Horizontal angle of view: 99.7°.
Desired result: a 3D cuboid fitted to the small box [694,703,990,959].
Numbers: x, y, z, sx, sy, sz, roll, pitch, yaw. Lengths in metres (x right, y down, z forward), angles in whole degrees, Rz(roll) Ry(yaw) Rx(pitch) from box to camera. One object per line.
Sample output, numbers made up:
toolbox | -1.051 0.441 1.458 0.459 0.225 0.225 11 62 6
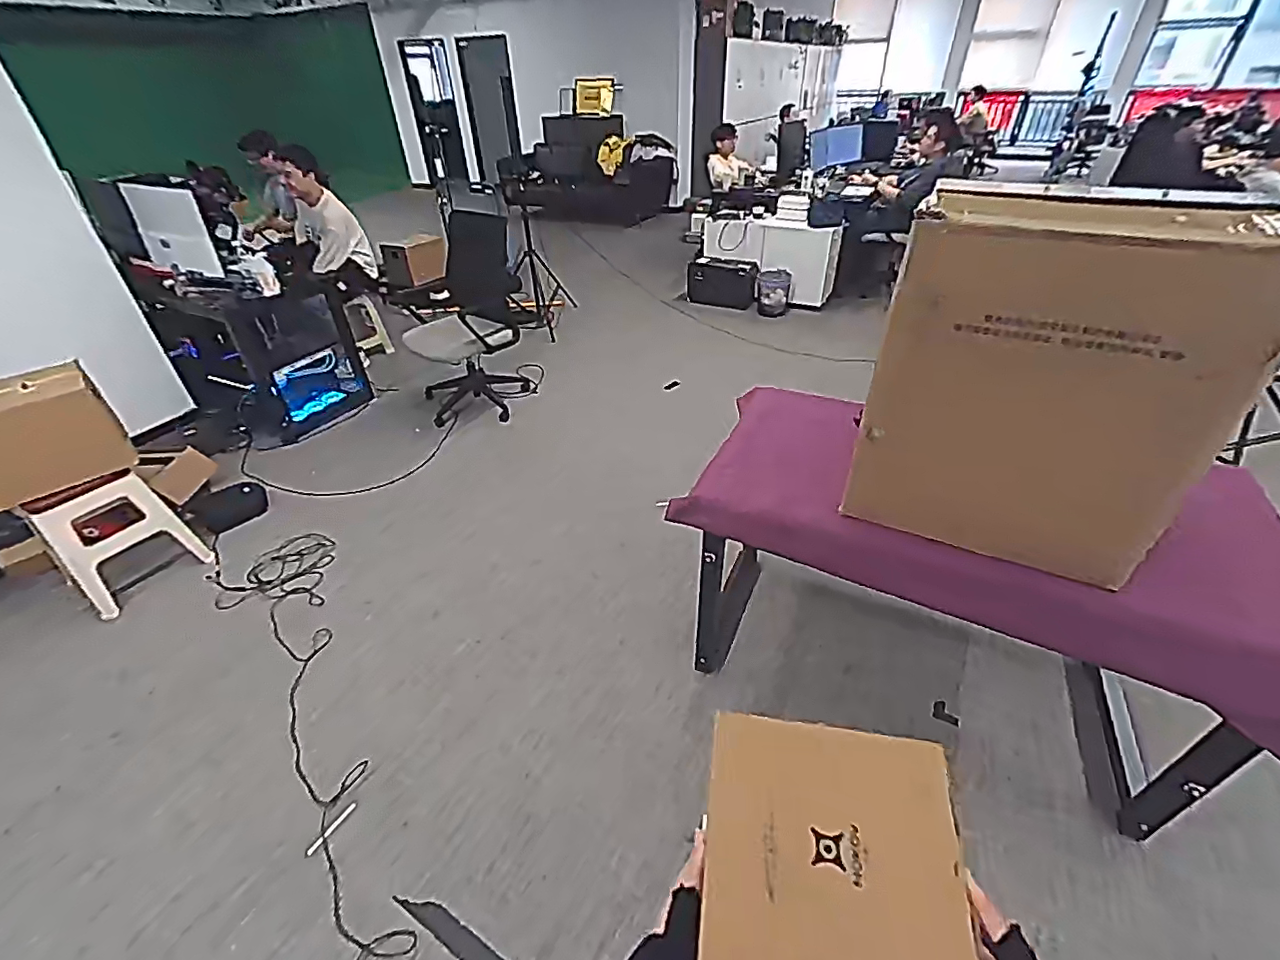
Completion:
small box | 0.139 0.300 0.431 0.179 0.176 0.168 4 48 8
